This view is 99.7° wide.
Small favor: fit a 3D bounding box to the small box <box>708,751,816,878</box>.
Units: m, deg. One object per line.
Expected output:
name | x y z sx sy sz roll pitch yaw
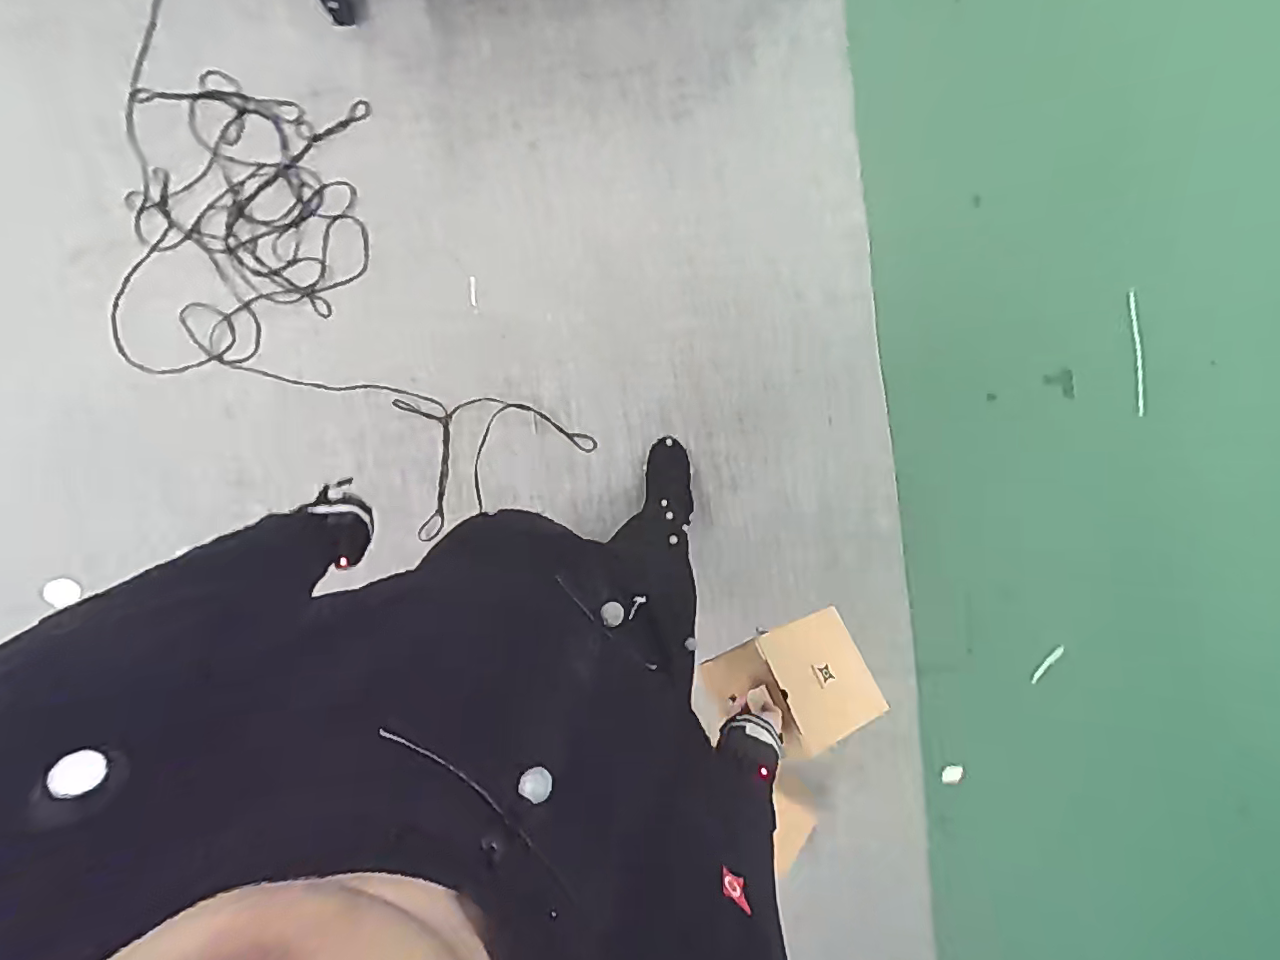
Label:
small box | 0.281 0.785 1.293 0.179 0.176 0.168 30 91 -3
